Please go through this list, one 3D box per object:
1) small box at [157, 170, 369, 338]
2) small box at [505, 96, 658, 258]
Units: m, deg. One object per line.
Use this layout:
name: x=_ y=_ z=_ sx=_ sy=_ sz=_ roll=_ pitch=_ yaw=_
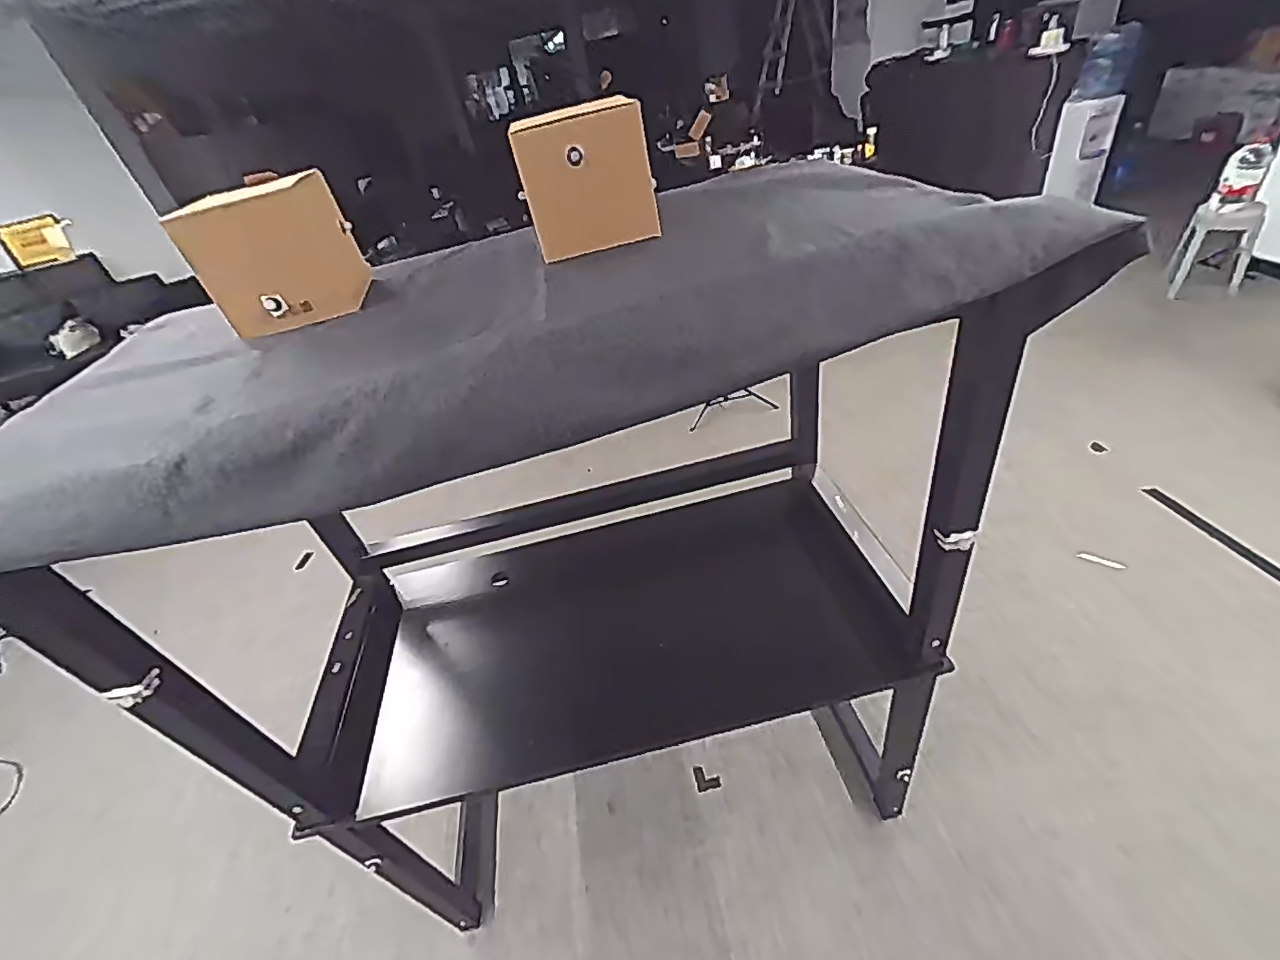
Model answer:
small box: x=-0.516 y=-0.325 z=0.776 sx=0.168 sy=0.176 sz=0.179 roll=-18 pitch=38 yaw=-5
small box: x=-0.083 y=-0.442 z=0.793 sx=0.179 sy=0.176 sz=0.168 roll=-14 pitch=38 yaw=-1
